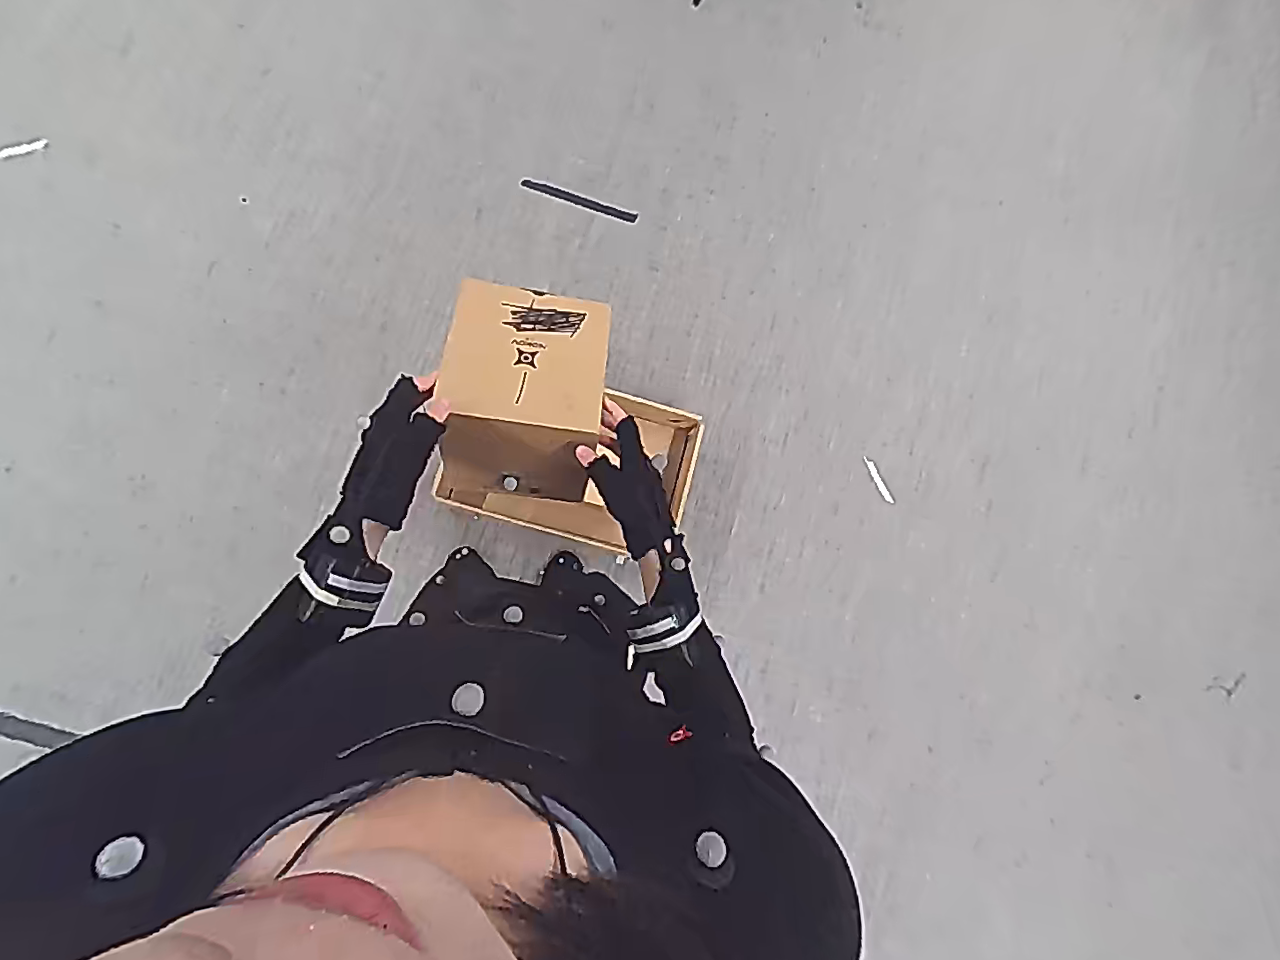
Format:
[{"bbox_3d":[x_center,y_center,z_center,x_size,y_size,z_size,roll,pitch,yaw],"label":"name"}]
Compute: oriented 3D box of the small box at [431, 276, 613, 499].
[{"bbox_3d":[-0.130,-0.098,0.627,0.168,0.176,0.179,7,62,-8],"label":"small box"}]
